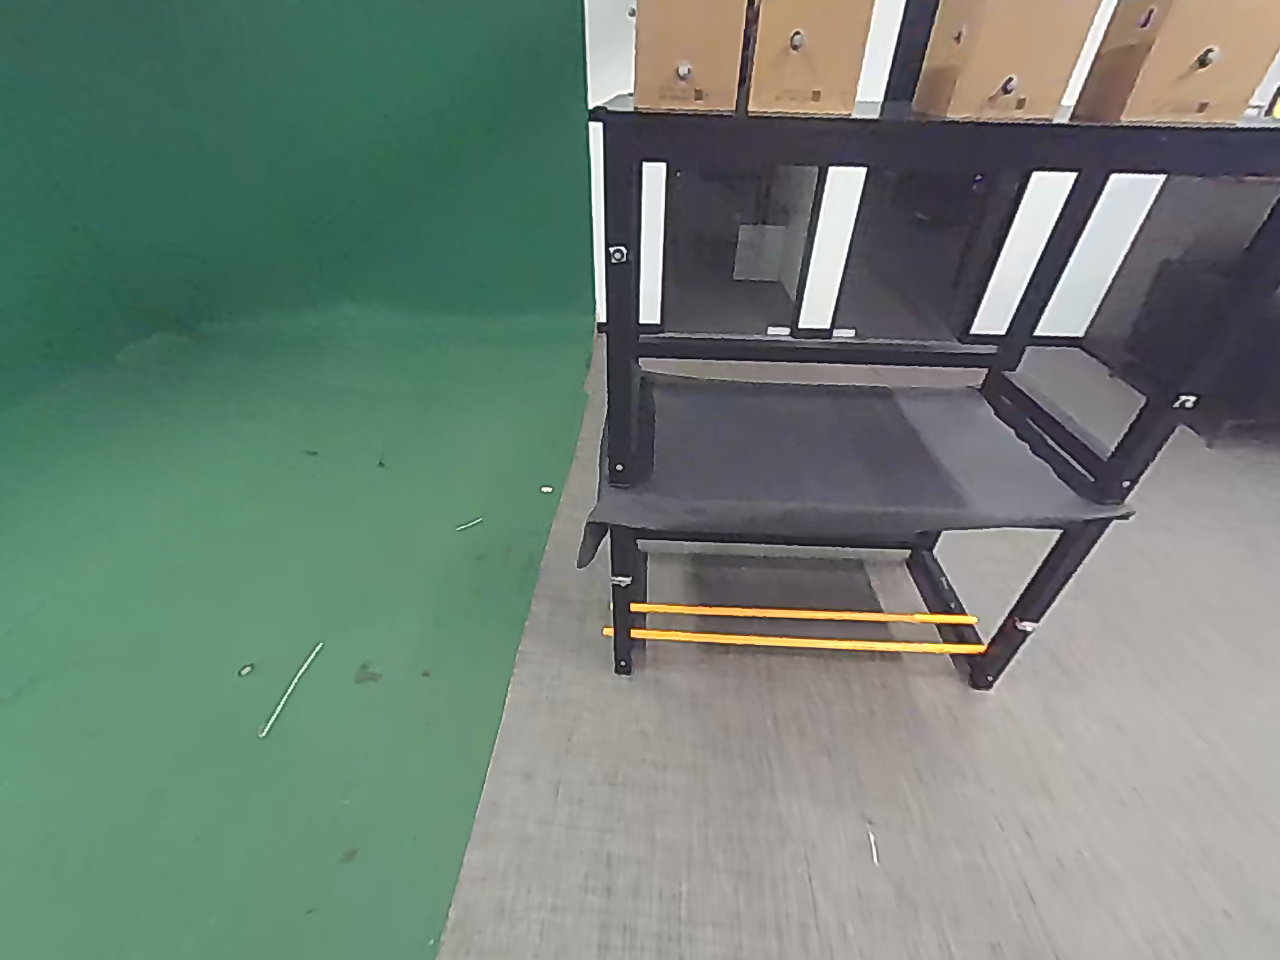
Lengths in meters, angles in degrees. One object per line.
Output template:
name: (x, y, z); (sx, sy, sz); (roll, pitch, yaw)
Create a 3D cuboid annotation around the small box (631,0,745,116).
small box: (0.071, -0.710, 0.891); (0.168, 0.176, 0.179); (1, 38, 0)

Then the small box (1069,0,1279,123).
small box: (0.832, -0.665, 0.849); (0.168, 0.176, 0.179); (8, 37, 8)
